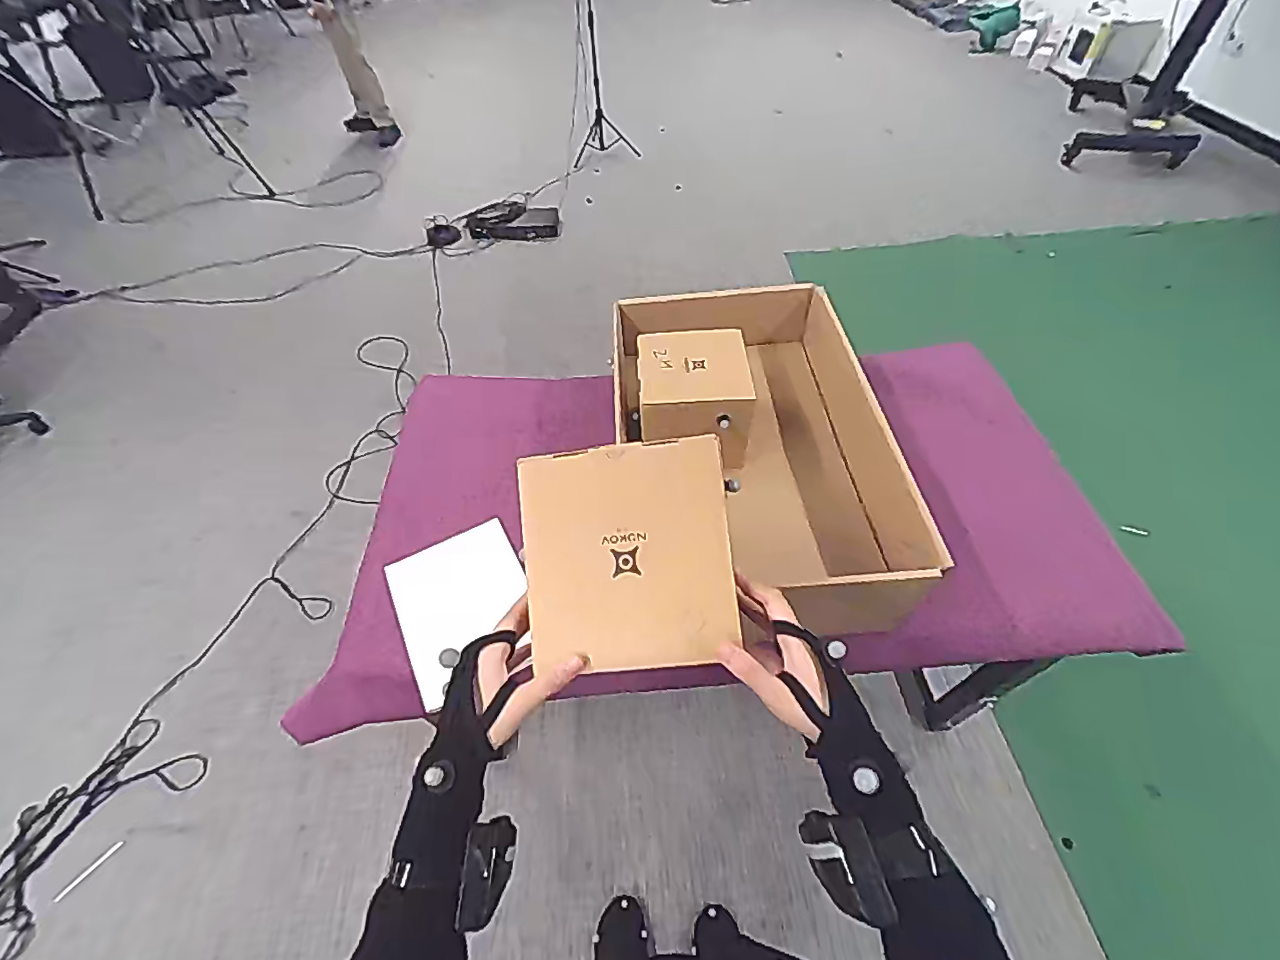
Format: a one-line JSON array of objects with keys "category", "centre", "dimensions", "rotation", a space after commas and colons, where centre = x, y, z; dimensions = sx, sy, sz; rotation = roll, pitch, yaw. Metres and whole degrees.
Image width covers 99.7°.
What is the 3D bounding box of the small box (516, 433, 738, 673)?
[{"category": "small box", "centre": [-0.002, 0.064, 0.501], "dimensions": [0.168, 0.176, 0.179], "rotation": [-7, 83, 6]}]
